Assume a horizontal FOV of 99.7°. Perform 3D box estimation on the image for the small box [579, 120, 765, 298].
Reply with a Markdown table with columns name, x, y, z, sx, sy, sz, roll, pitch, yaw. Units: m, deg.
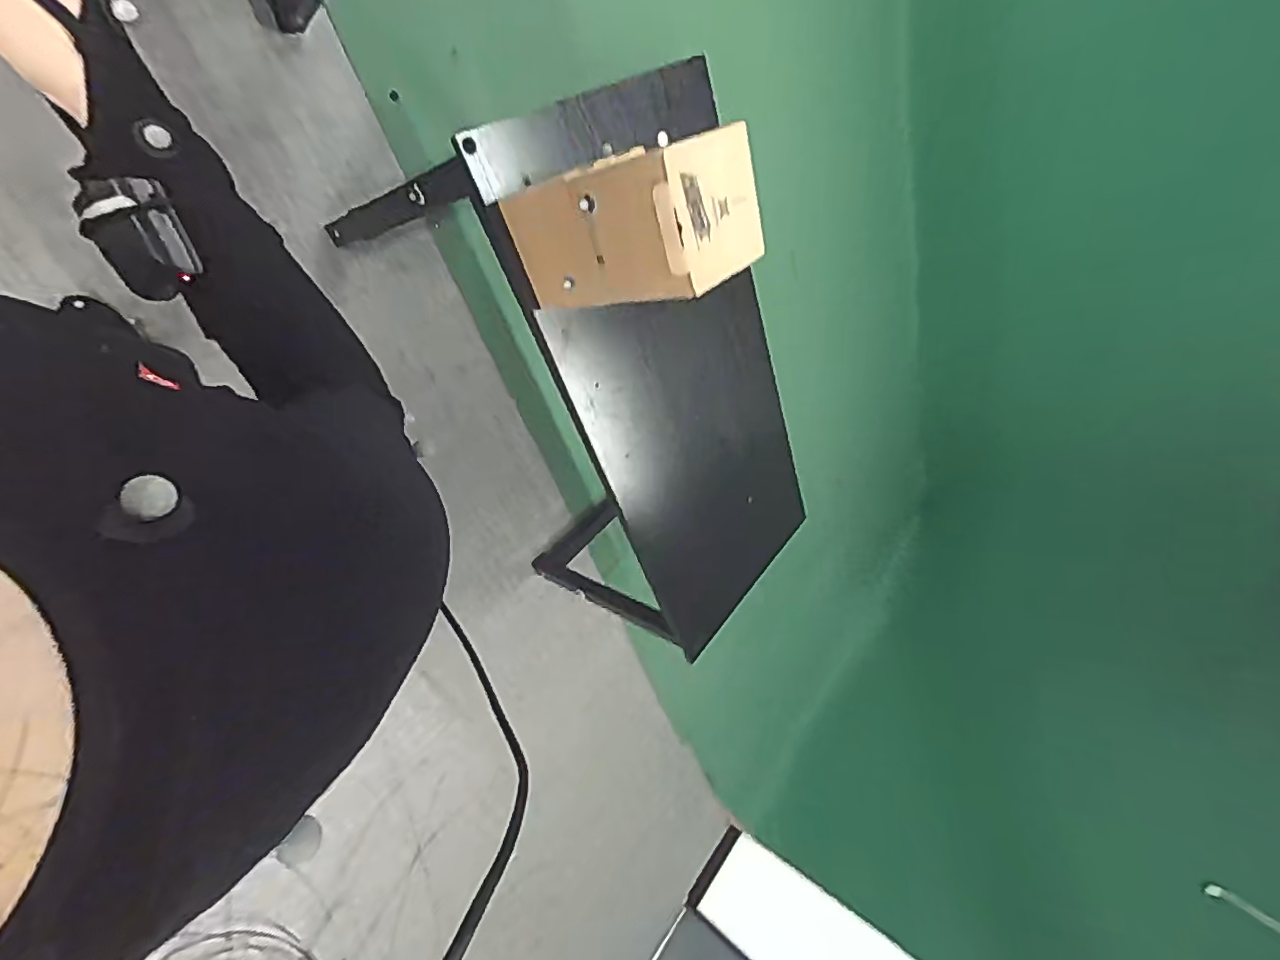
| name | x | y | z | sx | sy | sz | roll | pitch | yaw |
| --- | --- | --- | --- | --- | --- | --- | --- | --- | --- |
| small box | 0.040 | -0.354 | 0.726 | 0.179 | 0.176 | 0.168 | -40 | 127 | -32 |
